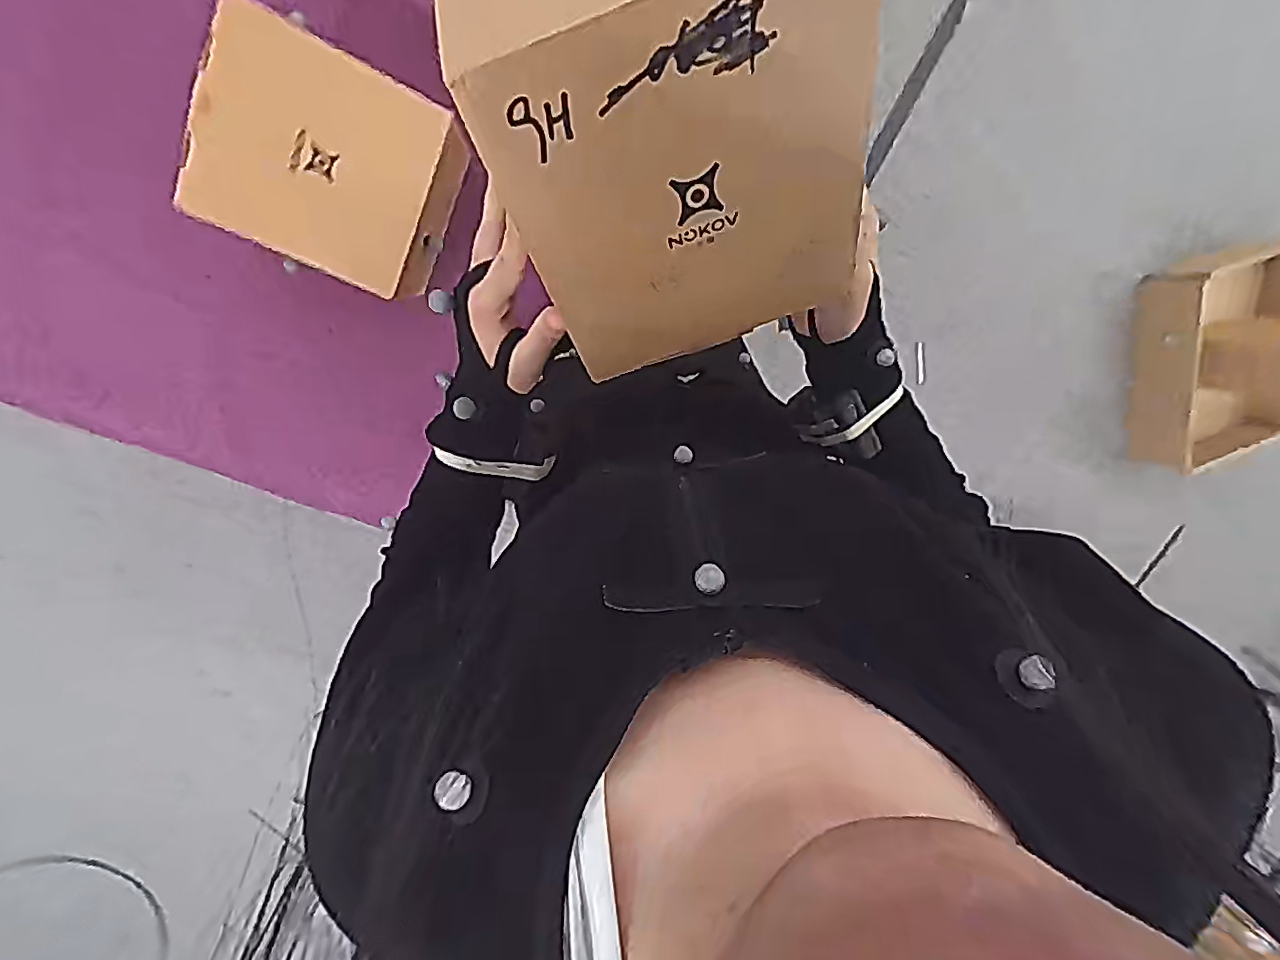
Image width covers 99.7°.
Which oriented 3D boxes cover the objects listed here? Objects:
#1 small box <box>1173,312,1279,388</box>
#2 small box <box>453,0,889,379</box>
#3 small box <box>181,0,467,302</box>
[{"bbox_3d":[1.790,-0.400,1.641,0.179,0.176,0.168,-21,113,-3],"label":"small box"},{"bbox_3d":[0.012,-0.194,0.305,0.168,0.176,0.179,-18,148,4],"label":"small box"},{"bbox_3d":[-0.281,-0.291,0.523,0.179,0.176,0.168,21,105,-17],"label":"small box"}]
